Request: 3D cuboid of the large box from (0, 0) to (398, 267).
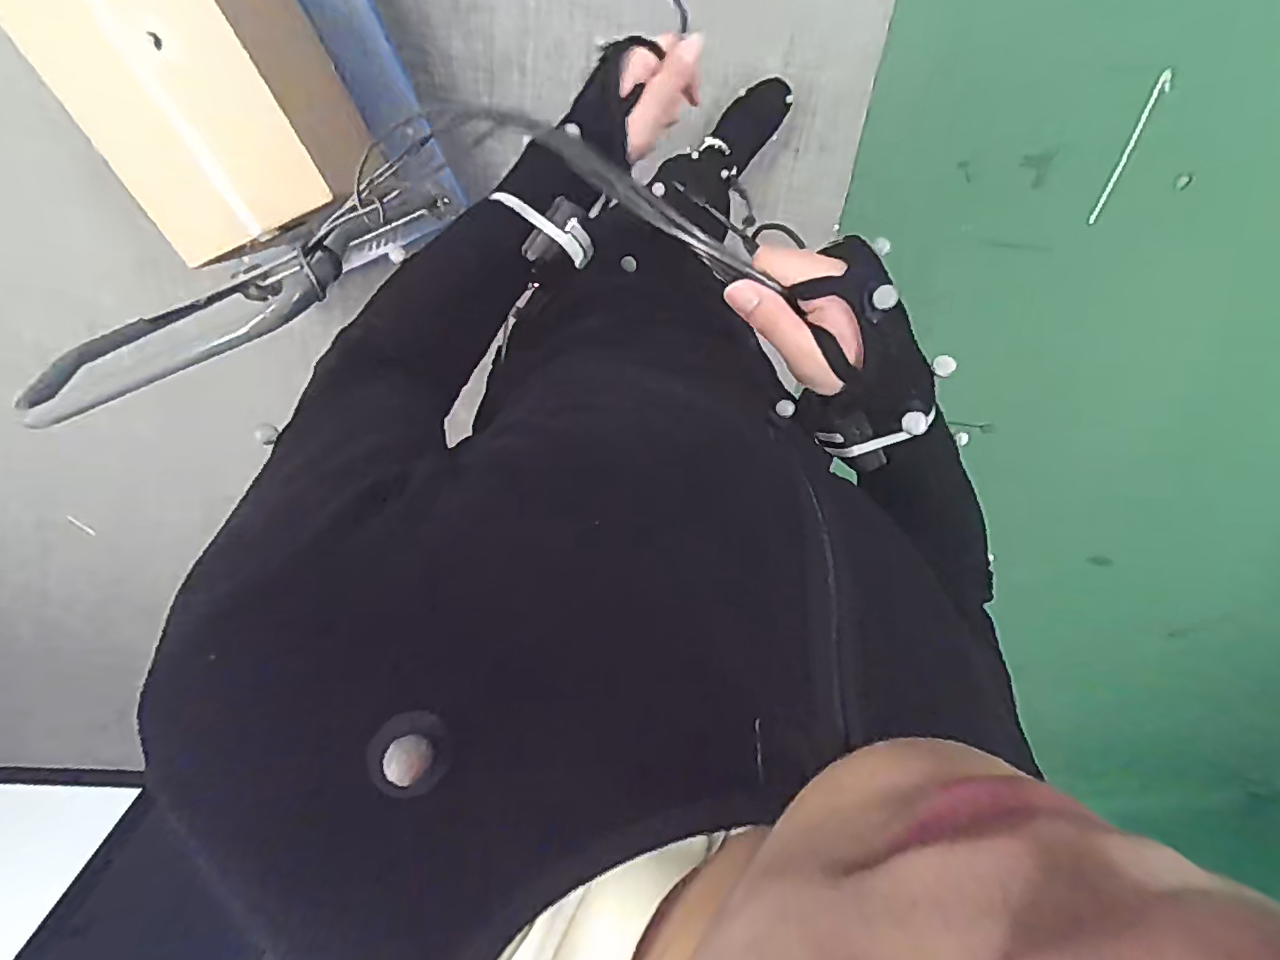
[{"bbox_3d":[-0.726,-0.656,0.969,0.320,0.320,0.408,-19,118,10],"label":"large box"}]
